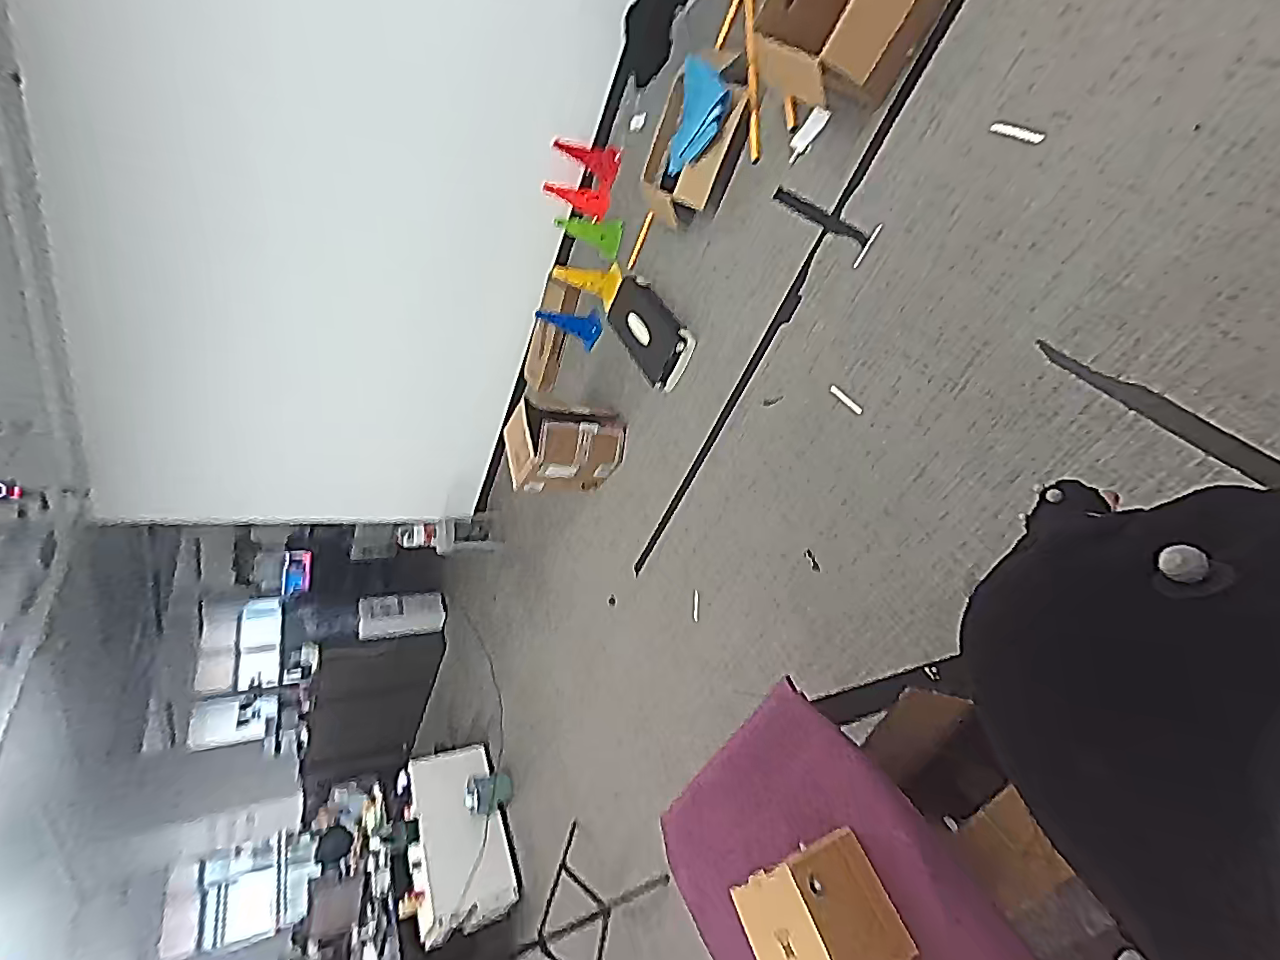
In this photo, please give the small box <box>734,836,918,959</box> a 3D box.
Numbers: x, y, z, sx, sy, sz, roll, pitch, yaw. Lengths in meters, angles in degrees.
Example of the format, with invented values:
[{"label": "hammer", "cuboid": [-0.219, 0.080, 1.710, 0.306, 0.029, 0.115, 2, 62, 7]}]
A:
[{"label": "small box", "cuboid": [0.287, 0.701, 0.846, 0.168, 0.176, 0.179, -59, 43, 35]}]
